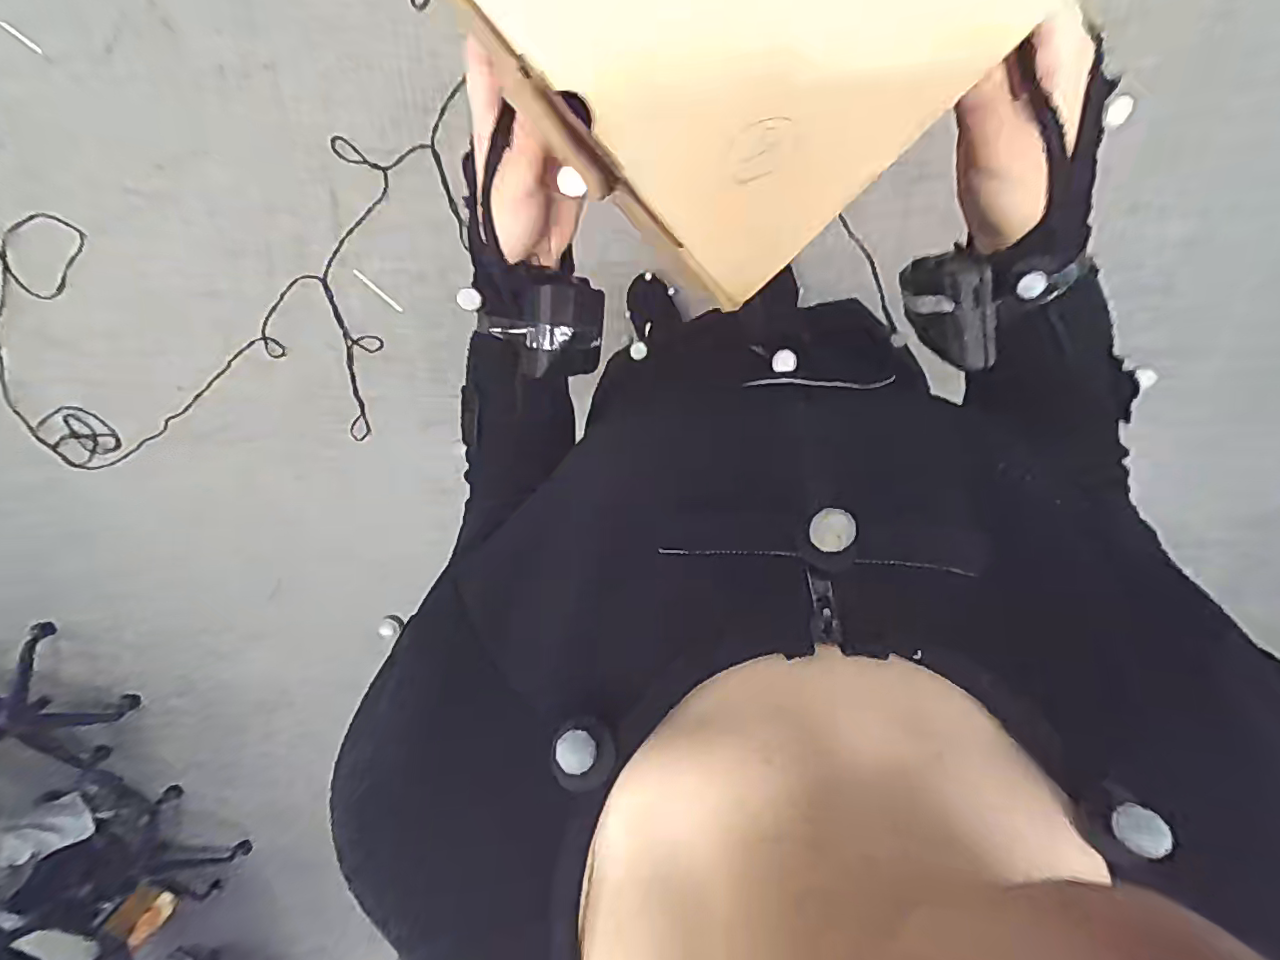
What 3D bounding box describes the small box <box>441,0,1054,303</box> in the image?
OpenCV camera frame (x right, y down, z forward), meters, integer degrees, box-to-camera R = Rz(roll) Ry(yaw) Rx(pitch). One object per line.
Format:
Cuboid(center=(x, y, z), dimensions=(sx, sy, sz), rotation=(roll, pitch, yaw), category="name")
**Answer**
Cuboid(center=(0.038, -0.203, 0.237), dimensions=(0.179, 0.176, 0.168), rotation=(-42, 107, 15), category="small box")
